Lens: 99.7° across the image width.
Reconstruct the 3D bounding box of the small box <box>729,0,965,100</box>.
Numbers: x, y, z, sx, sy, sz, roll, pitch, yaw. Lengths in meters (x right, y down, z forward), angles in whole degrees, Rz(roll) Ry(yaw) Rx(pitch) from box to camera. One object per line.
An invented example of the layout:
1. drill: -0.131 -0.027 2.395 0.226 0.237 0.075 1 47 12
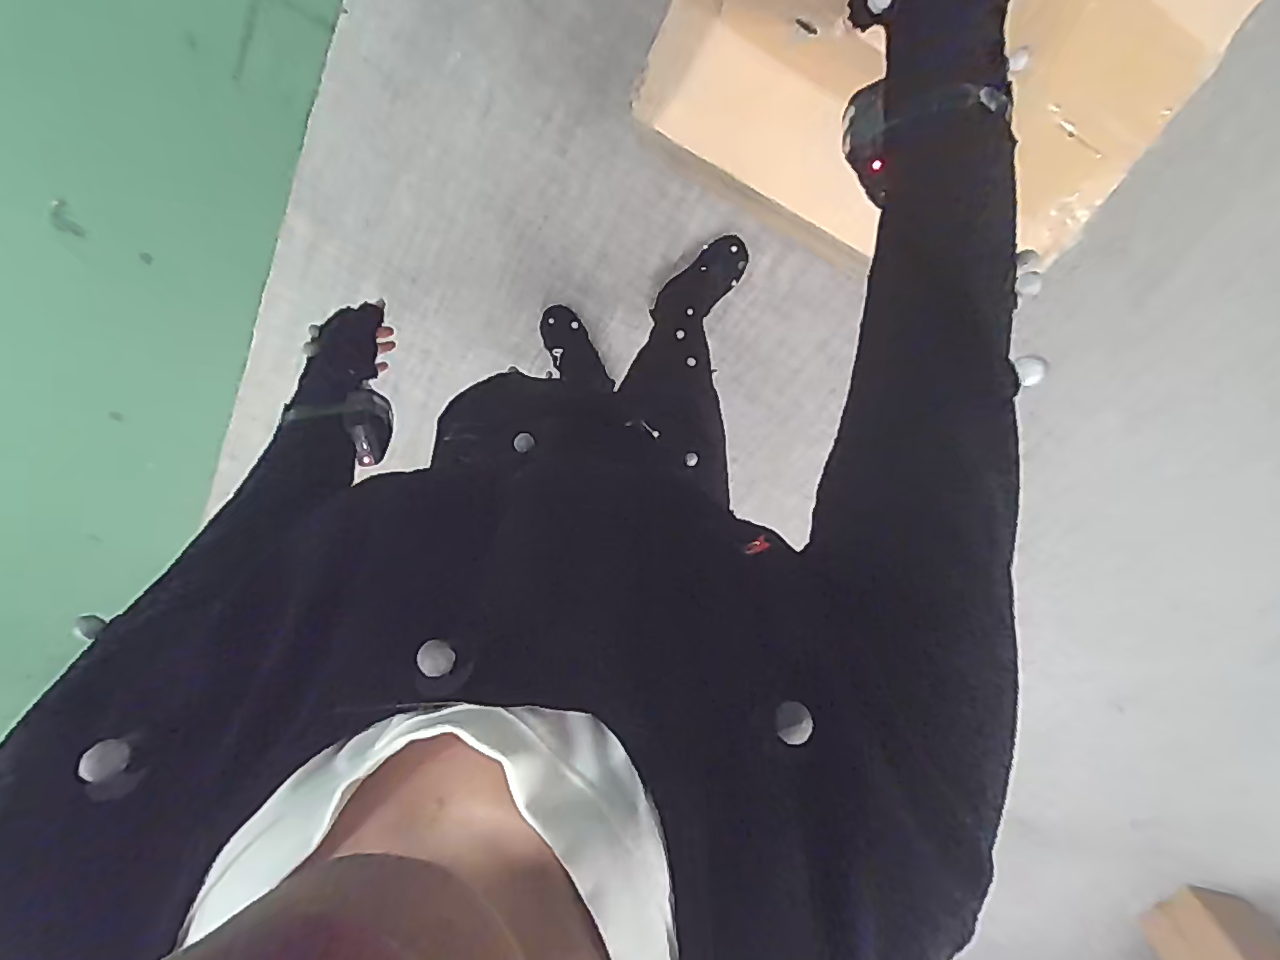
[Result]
1. small box: 0.195 -0.470 0.475 0.179 0.176 0.168 25 116 -10
